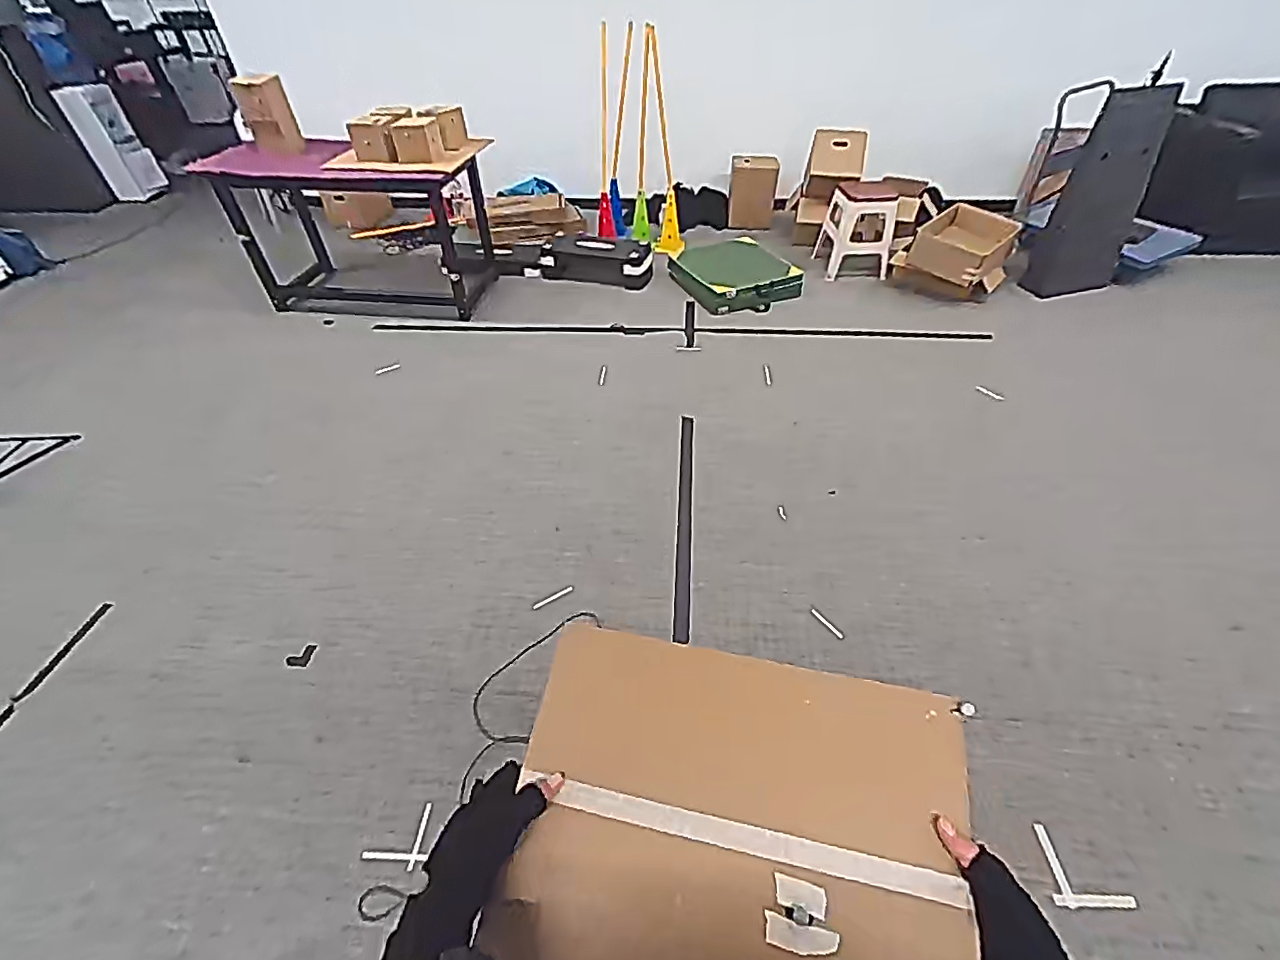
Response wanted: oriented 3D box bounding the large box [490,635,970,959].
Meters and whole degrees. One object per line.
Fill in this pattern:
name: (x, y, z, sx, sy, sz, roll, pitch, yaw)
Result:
large box: (0.102, 0.402, 0.628, 0.408, 0.320, 0.320, 7, 61, 11)
